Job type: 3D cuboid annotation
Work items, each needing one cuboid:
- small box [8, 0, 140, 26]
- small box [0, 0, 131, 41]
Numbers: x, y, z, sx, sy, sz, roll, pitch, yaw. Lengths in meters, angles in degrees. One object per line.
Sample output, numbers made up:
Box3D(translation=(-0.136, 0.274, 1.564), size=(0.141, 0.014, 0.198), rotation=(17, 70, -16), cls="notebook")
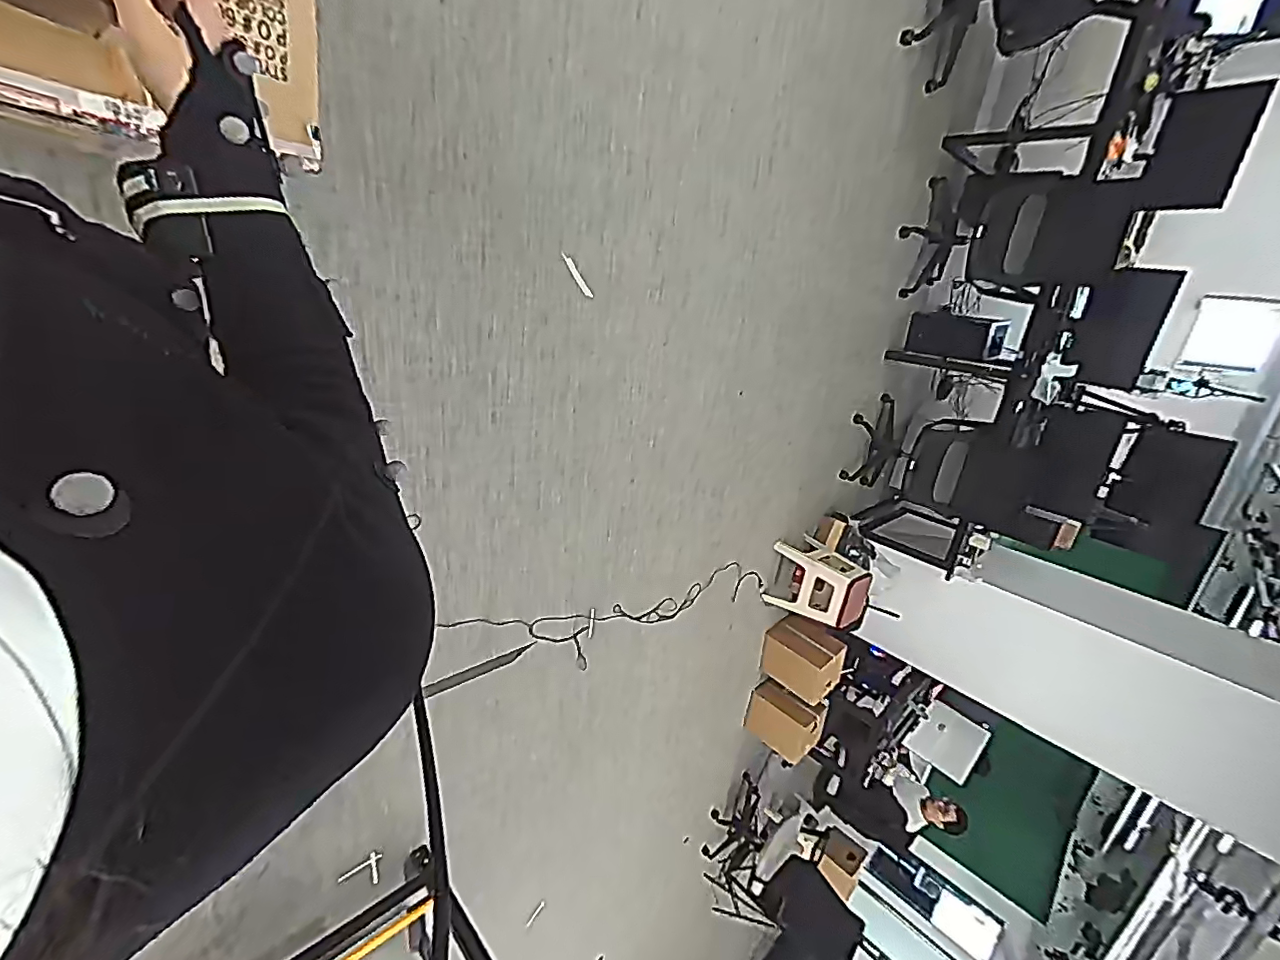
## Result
Box3D(translation=(-0.416, -0.408, 0.313), size=(0.179, 0.176, 0.168), rotation=(-3, 111, -48), cls="small box")
Box3D(translation=(-0.544, -0.494, 0.437), size=(0.179, 0.176, 0.168), rotation=(-9, 118, -45), cls="small box")
